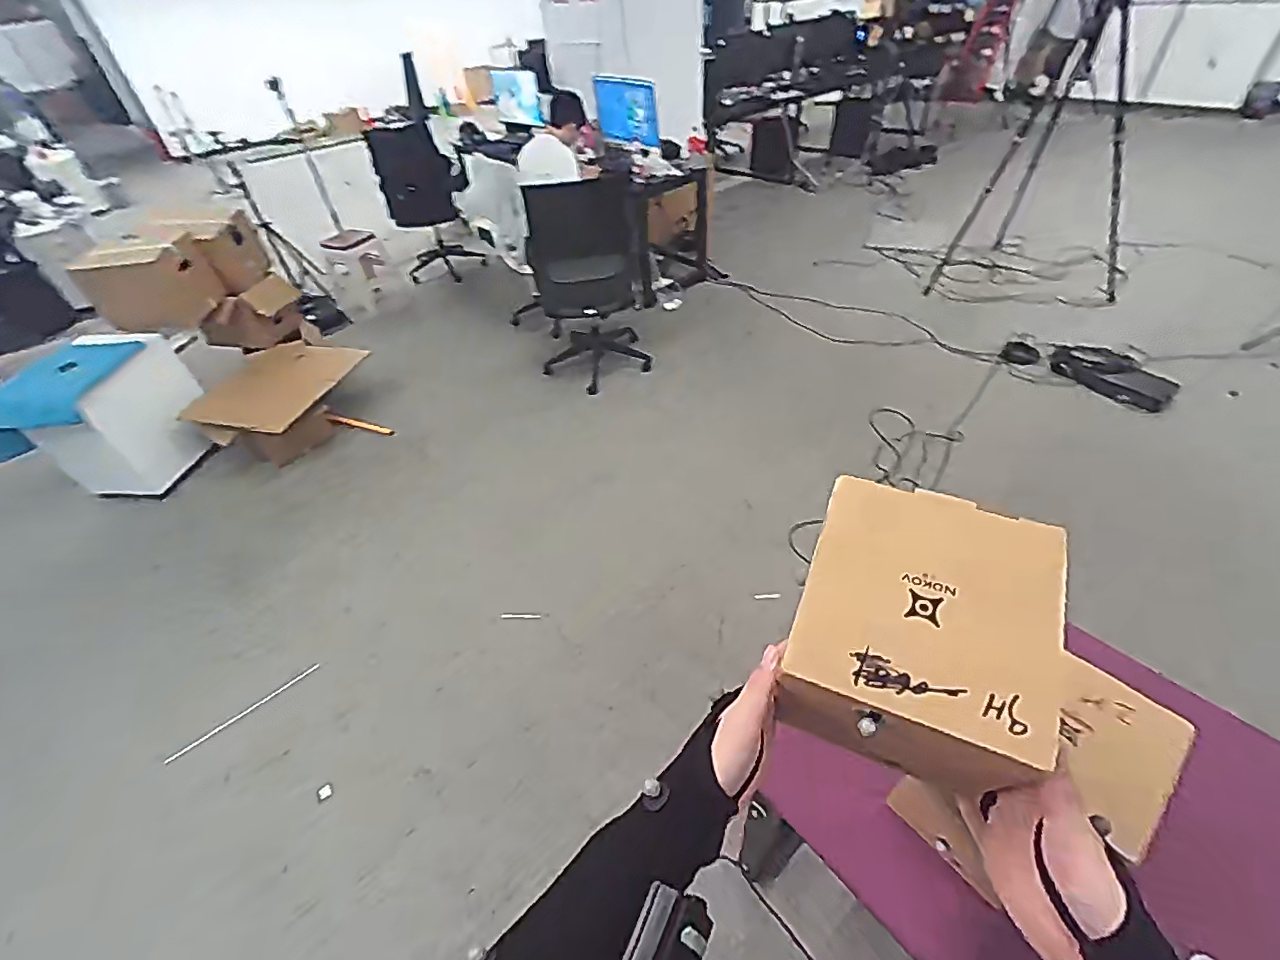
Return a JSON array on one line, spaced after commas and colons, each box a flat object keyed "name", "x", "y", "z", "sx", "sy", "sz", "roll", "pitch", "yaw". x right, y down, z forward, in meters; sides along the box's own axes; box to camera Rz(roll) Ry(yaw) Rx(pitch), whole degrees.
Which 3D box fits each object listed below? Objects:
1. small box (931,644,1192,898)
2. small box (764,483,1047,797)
[{"name": "small box", "x": 0.442, "y": 0.318, "z": 0.605, "sx": 0.179, "sy": 0.176, "sz": 0.168, "roll": -34, "pitch": 50, "yaw": -26}, {"name": "small box", "x": 0.204, "y": 0.134, "z": 0.451, "sx": 0.168, "sy": 0.176, "sz": 0.179, "roll": 15, "pitch": 60, "yaw": 21}]
